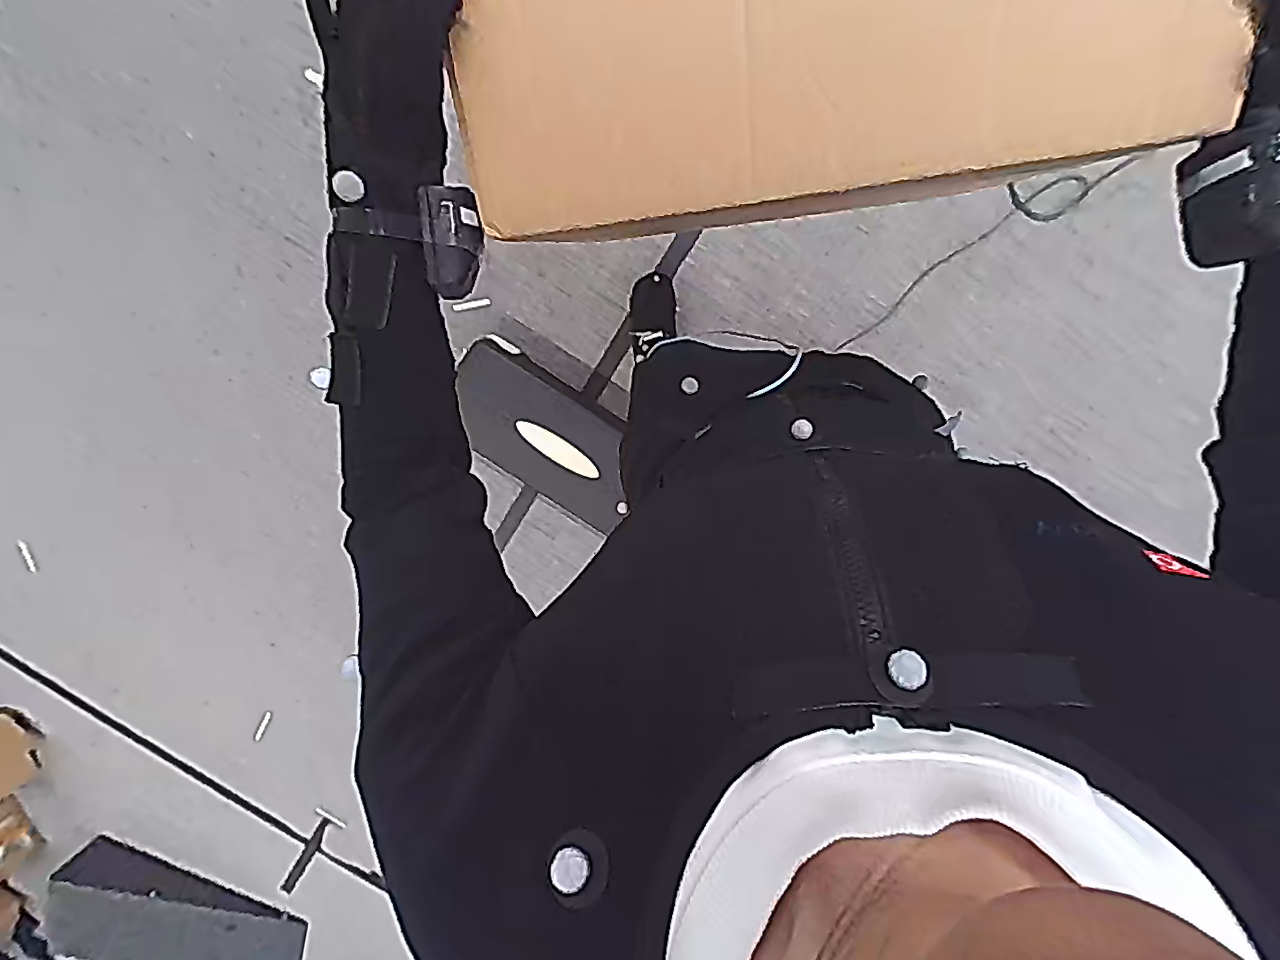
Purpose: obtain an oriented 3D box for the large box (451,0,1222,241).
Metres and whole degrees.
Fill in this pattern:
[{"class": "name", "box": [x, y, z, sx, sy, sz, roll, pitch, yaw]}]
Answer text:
[{"class": "large box", "box": [0.098, -0.375, 0.400, 0.408, 0.320, 0.320, -4, 113, 9]}]
